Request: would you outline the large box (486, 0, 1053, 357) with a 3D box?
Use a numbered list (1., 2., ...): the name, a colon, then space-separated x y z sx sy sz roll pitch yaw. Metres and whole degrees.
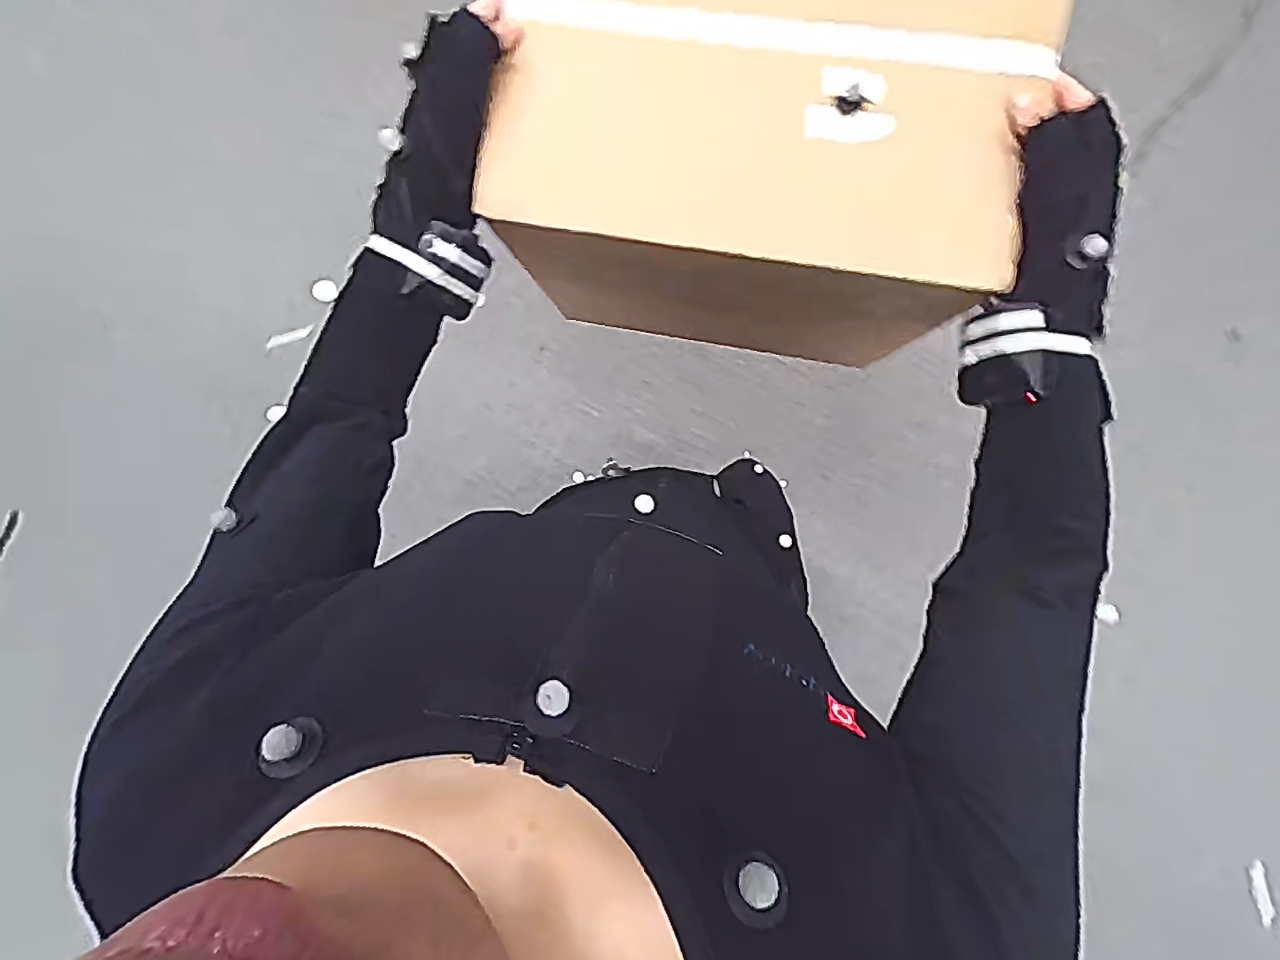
1. large box: 0.105 -0.334 0.556 0.408 0.320 0.320 10 92 4
